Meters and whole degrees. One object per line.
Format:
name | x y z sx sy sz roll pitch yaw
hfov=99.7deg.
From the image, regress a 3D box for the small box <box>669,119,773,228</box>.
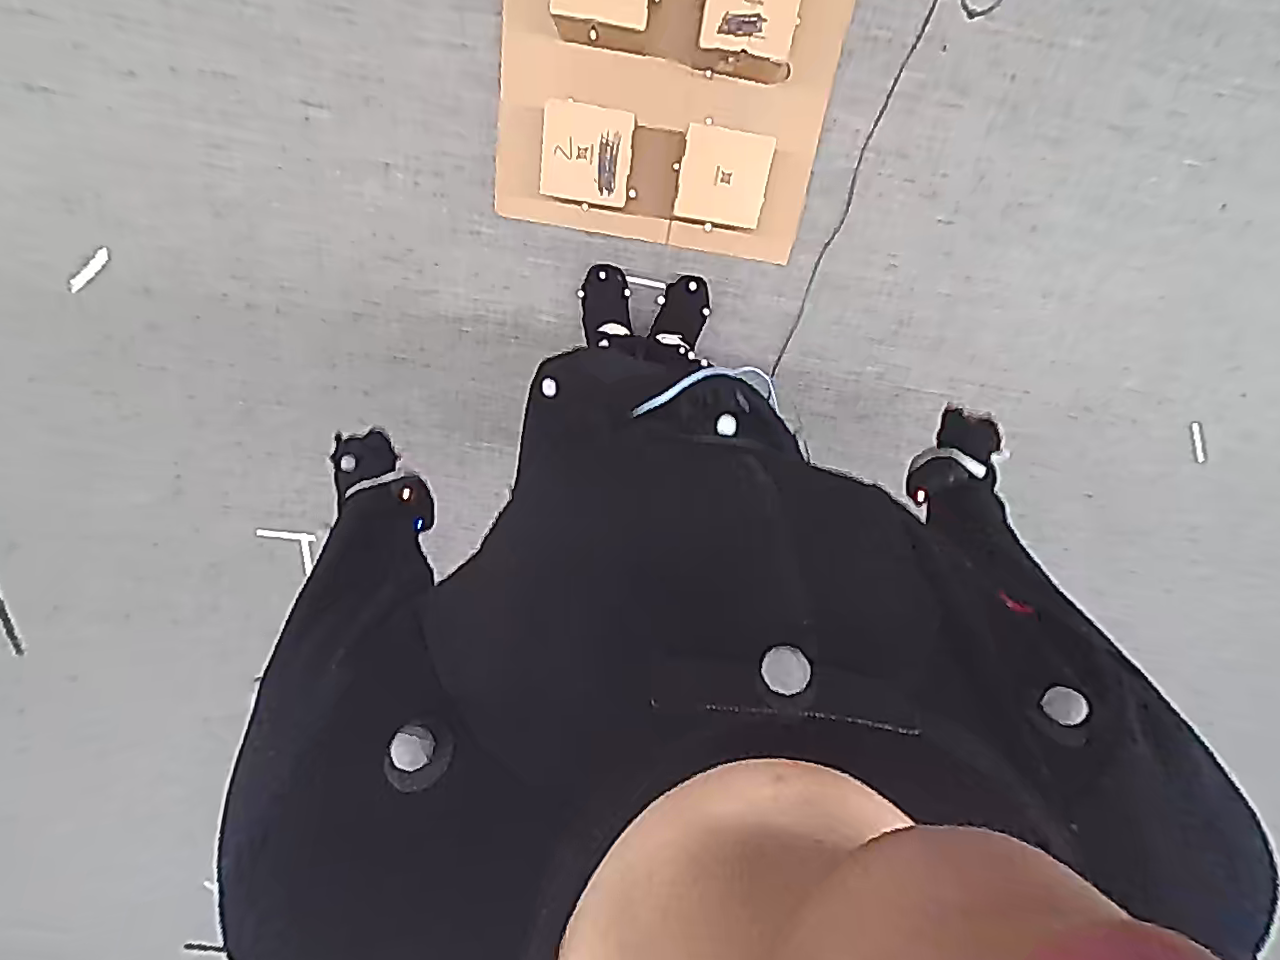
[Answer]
small box | 0.163 -0.641 1.146 0.179 0.176 0.168 10 116 -2
